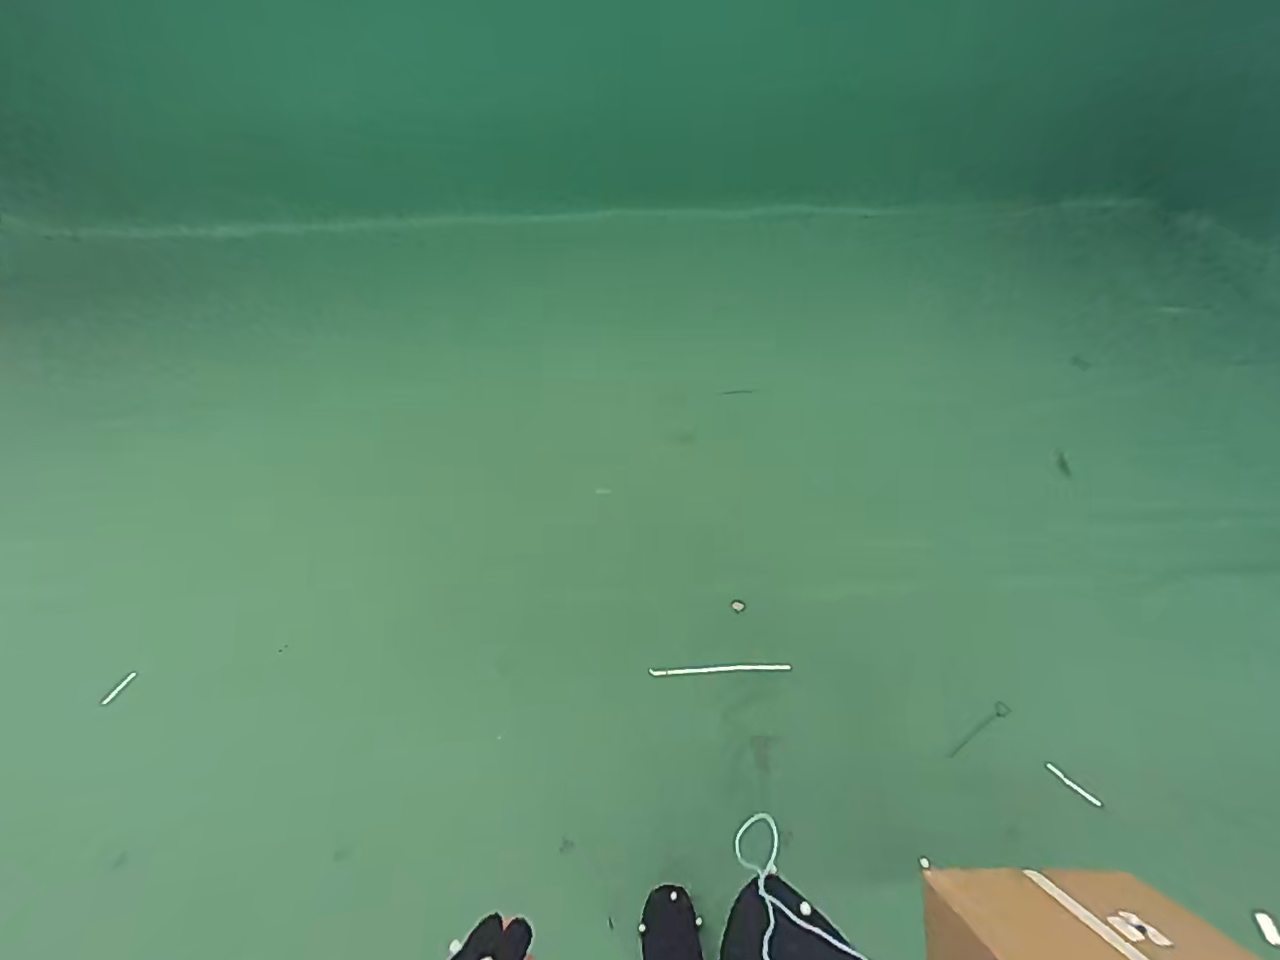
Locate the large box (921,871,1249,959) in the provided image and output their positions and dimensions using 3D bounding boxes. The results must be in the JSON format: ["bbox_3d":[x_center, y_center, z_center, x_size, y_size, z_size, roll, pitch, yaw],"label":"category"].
[{"bbox_3d":[0.569,0.709,0.588,0.320,0.408,0.320,2,81,1],"label":"large box"}]
